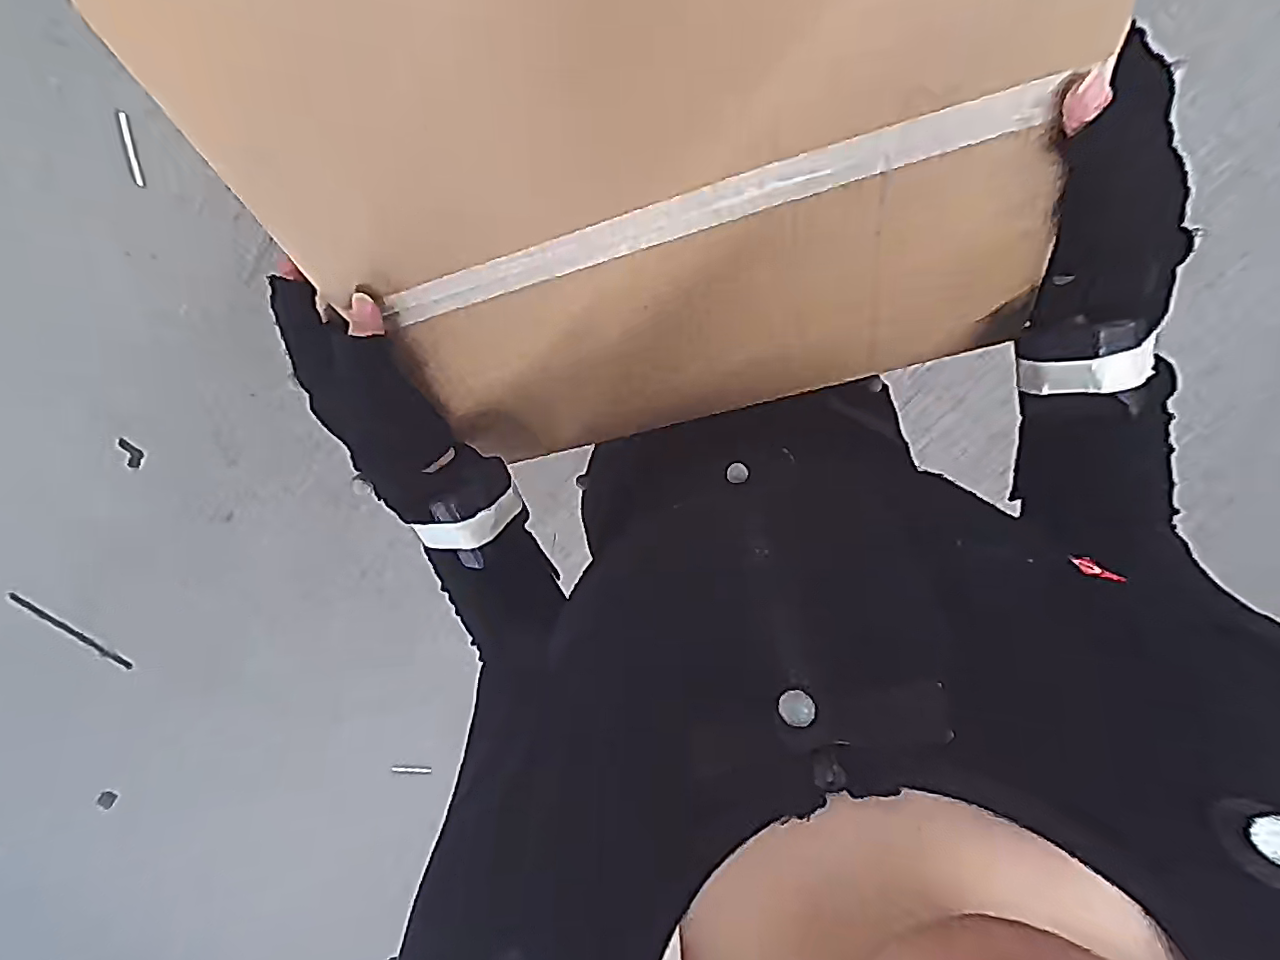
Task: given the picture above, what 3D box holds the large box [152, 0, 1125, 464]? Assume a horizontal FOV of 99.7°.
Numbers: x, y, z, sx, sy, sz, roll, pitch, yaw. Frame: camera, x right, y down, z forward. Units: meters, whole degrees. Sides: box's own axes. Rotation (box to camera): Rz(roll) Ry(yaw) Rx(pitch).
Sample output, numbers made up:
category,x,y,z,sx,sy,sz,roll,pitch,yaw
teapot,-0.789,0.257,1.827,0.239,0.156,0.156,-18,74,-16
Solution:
category,x,y,z,sx,sy,sz,roll,pitch,yaw
large box,0.016,-0.260,0.389,0.408,0.320,0.320,-12,143,10
